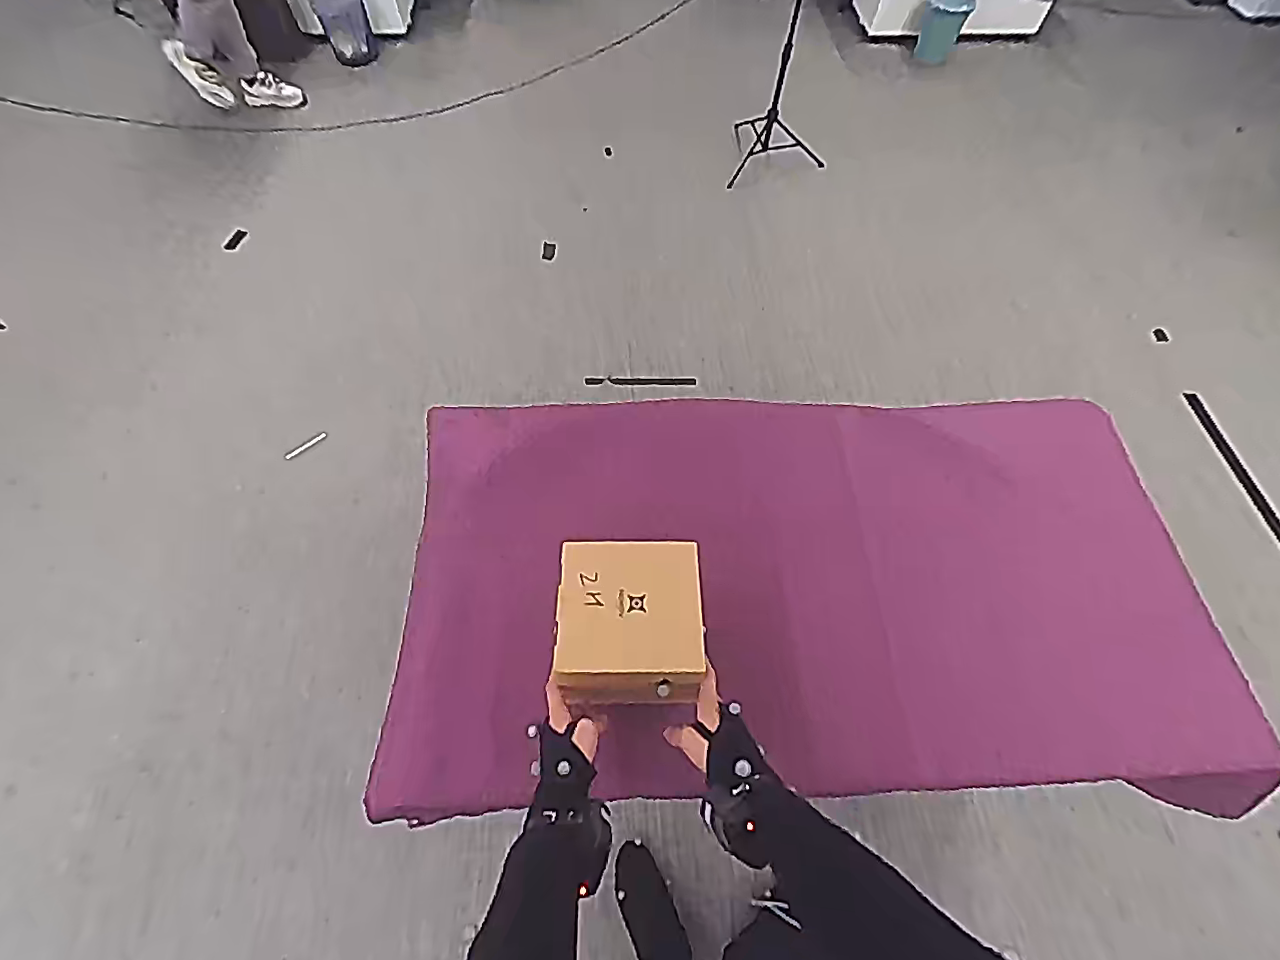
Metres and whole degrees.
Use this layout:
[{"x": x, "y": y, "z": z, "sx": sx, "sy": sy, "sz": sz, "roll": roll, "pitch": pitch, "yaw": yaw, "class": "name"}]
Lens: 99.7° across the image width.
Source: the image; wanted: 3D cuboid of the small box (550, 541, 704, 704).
[{"x": -0.017, "y": 0.192, "z": 0.715, "sx": 0.179, "sy": 0.176, "sz": 0.168, "roll": 0, "pitch": 56, "yaw": -1, "class": "small box"}]
